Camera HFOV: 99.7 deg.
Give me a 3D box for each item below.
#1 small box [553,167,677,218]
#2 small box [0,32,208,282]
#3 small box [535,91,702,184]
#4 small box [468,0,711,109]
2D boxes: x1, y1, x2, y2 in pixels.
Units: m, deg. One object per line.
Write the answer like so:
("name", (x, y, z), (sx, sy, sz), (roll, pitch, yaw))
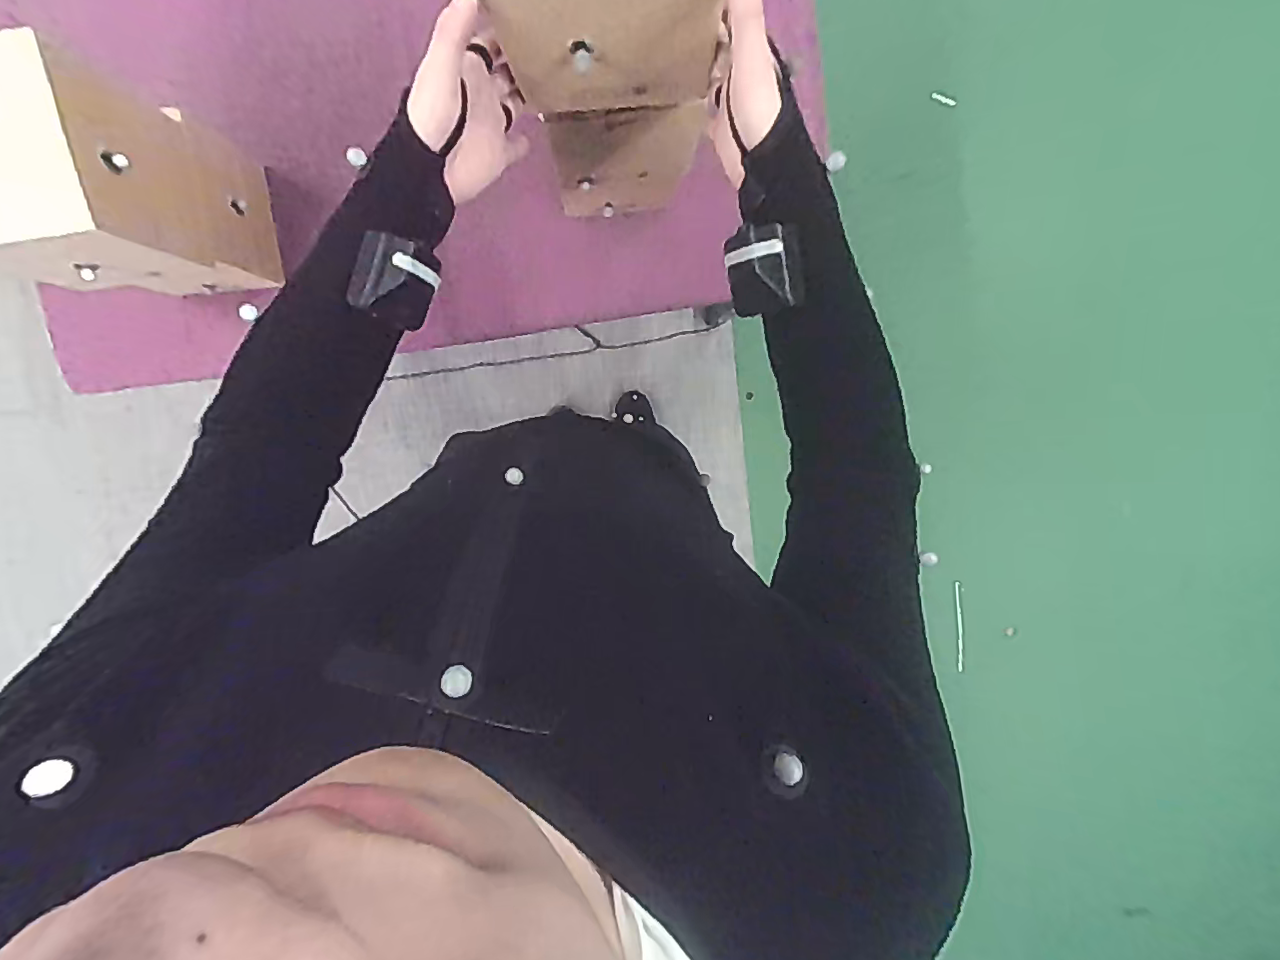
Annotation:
("small box", (-0.043, -0.492, 0.756), (0.168, 0.176, 0.179), (-7, 98, -1))
("small box", (-0.612, -0.318, 0.573), (0.168, 0.176, 0.179), (-10, 99, -3))
("small box", (-0.033, -0.451, 0.596), (0.168, 0.176, 0.179), (-9, 97, -1))
("small box", (-0.031, -0.411, 0.408), (0.168, 0.176, 0.179), (-3, 99, 3))
